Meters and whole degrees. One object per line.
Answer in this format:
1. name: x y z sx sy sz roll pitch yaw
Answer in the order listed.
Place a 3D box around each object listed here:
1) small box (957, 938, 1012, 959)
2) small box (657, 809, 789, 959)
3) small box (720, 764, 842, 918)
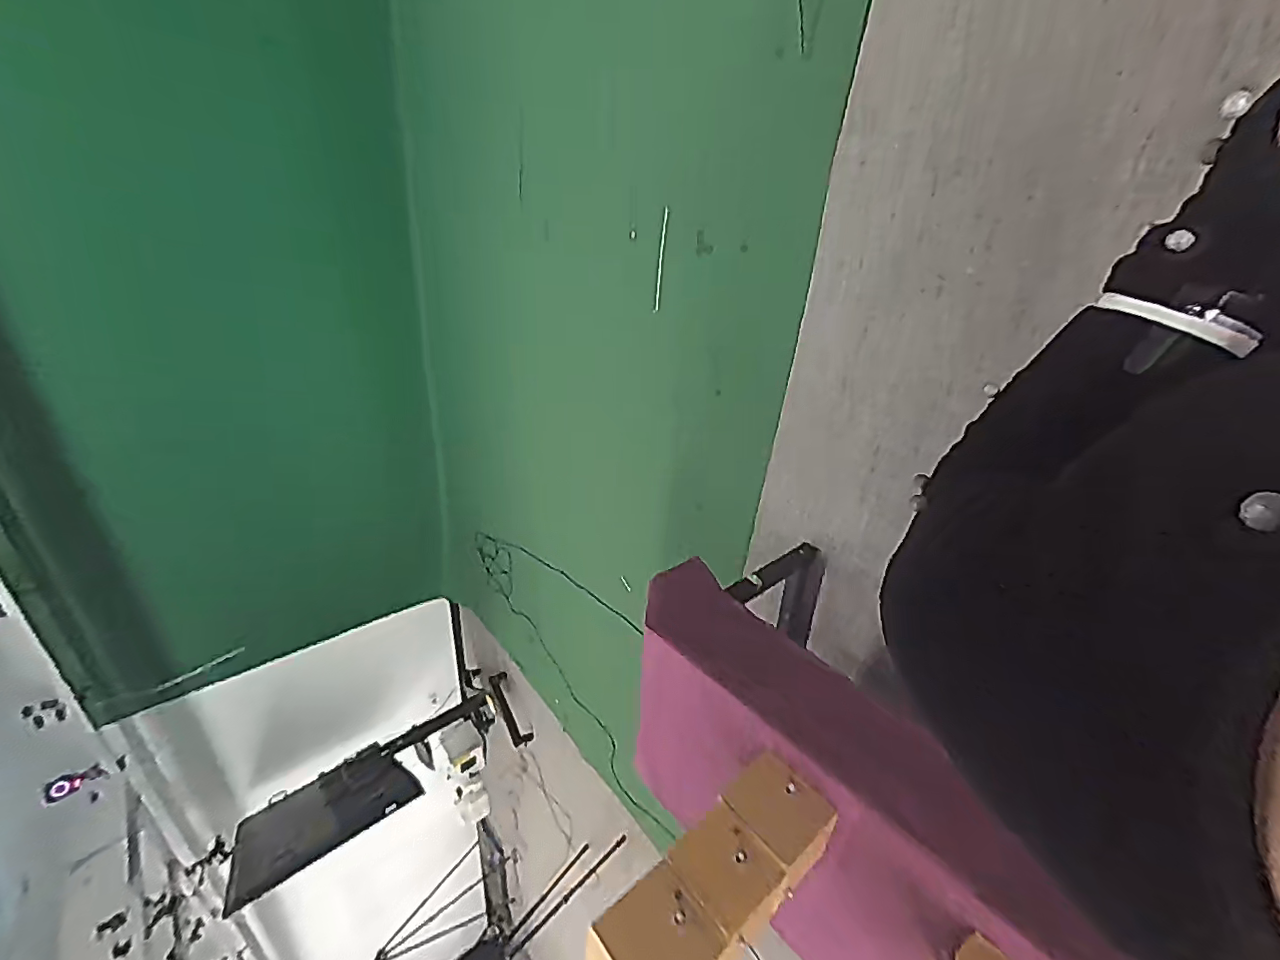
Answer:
1. small box: 0.552 0.872 0.825 0.179 0.176 0.168 32 127 40
2. small box: 0.154 0.772 1.010 0.168 0.176 0.179 32 127 40
3. small box: 0.277 0.720 1.105 0.179 0.176 0.168 32 128 41
